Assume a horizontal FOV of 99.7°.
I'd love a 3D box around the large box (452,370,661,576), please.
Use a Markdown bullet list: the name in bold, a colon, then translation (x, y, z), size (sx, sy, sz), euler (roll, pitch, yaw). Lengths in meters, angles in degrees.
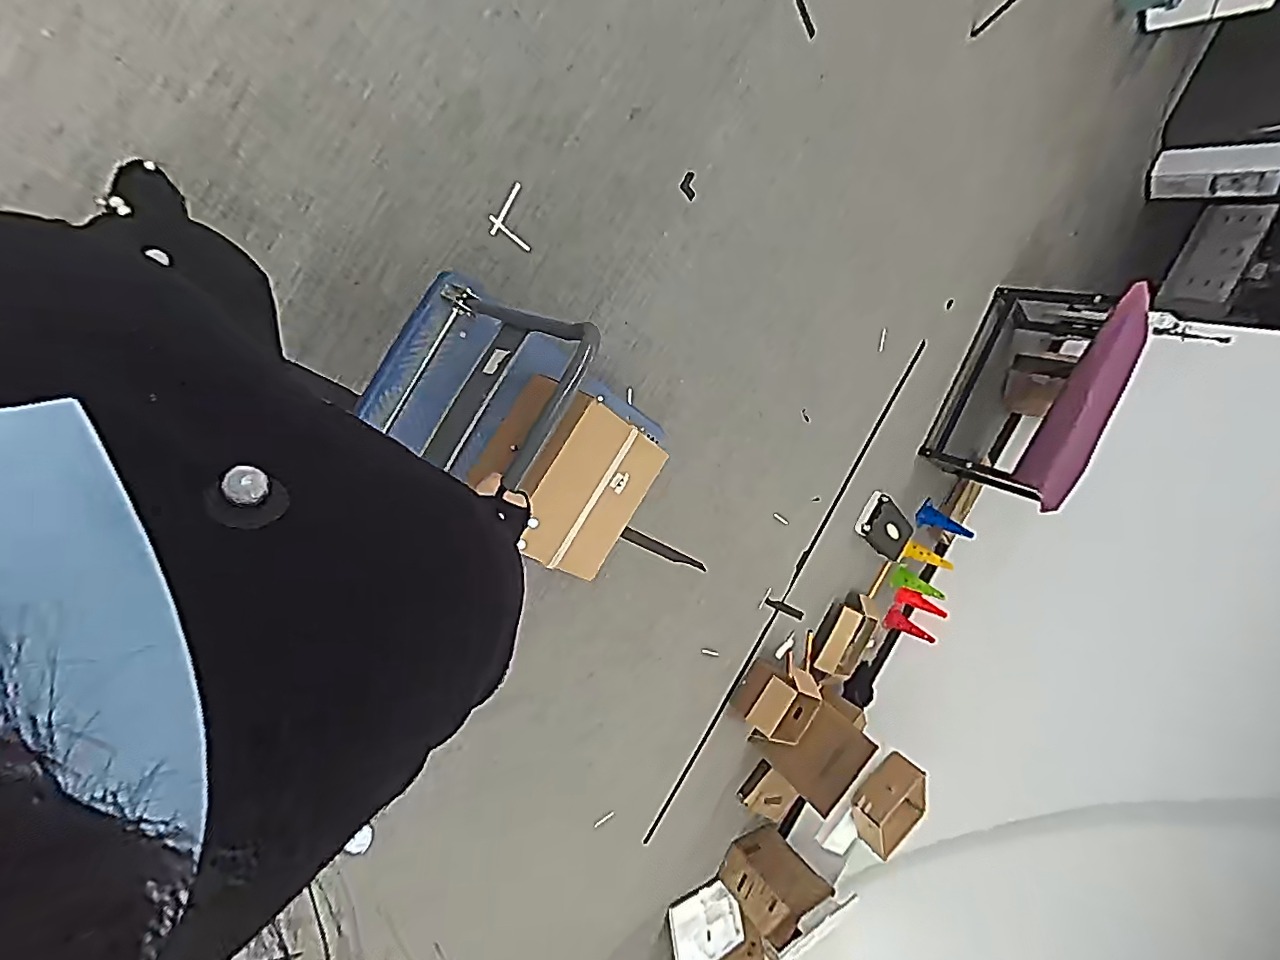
- **large box**: translation (-0.223, -0.021, 1.429), size (0.320, 0.320, 0.408), euler (34, 86, -45)
